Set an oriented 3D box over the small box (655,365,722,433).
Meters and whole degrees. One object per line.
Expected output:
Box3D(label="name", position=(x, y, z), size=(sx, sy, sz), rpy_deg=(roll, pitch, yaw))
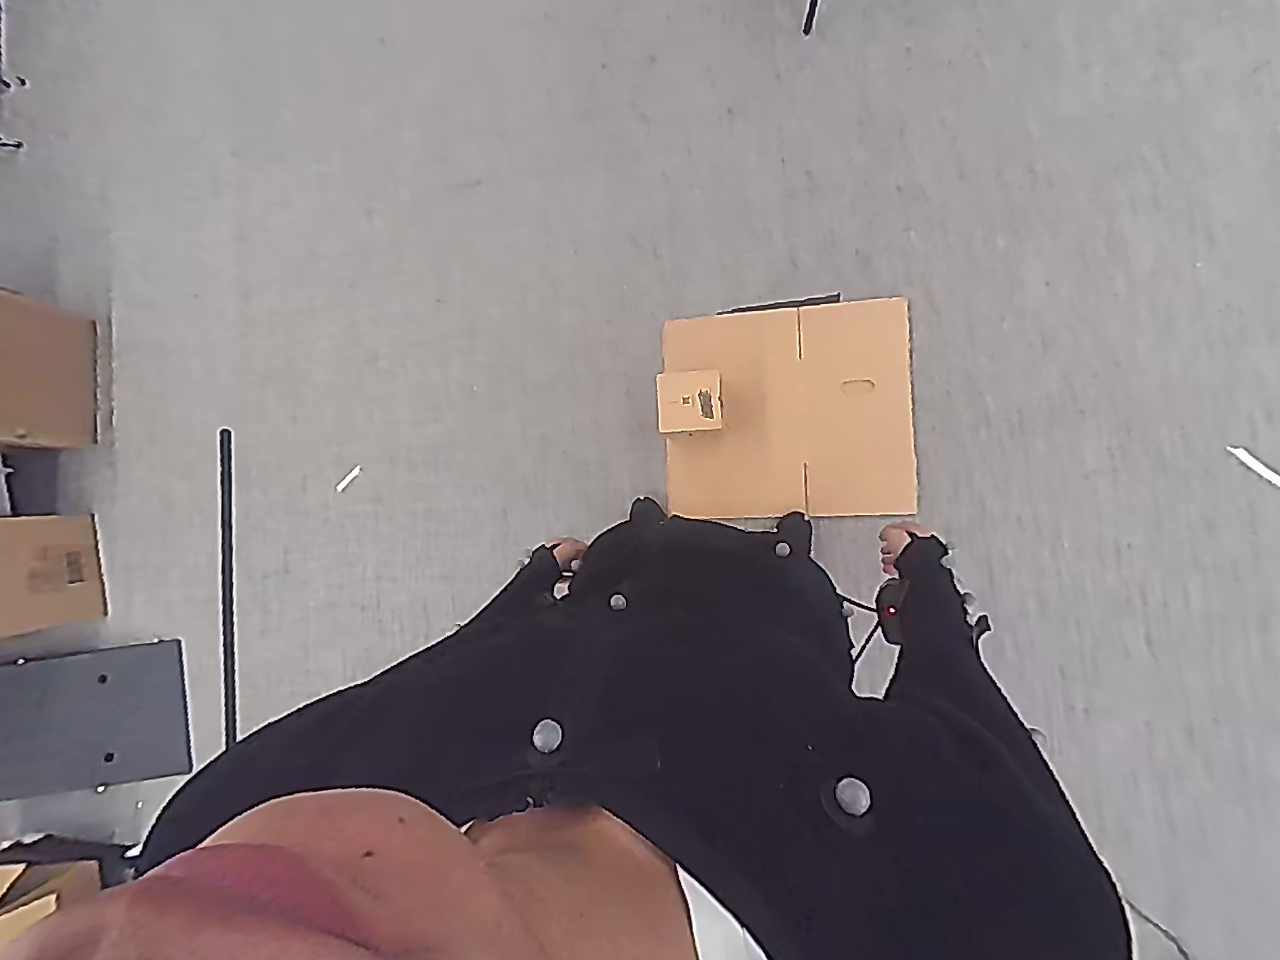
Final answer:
Box3D(label="small box", position=(0.144, -0.227, 1.544), size=(0.179, 0.176, 0.168), rpy_deg=(-2, 88, 13))
